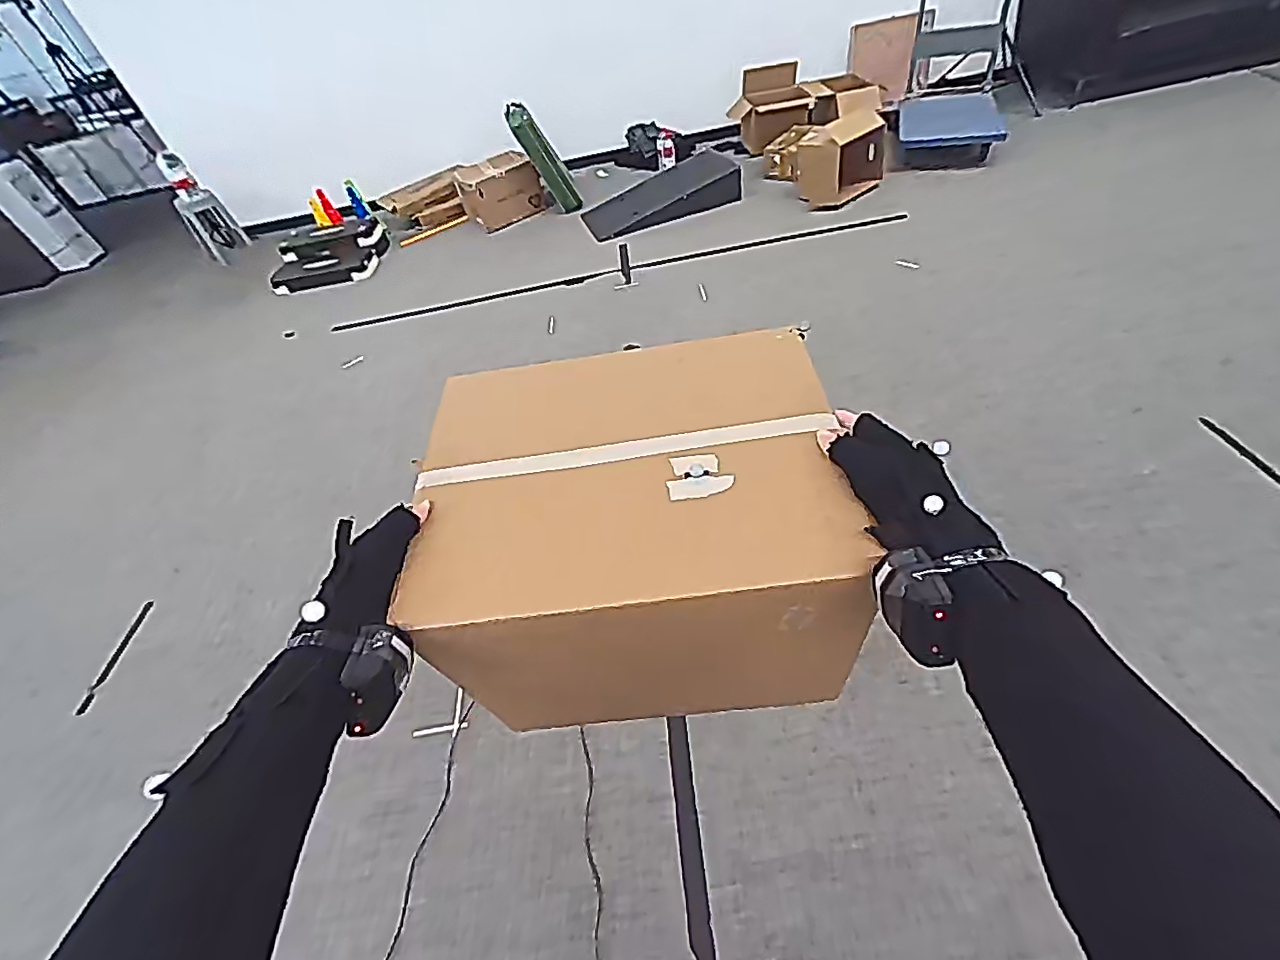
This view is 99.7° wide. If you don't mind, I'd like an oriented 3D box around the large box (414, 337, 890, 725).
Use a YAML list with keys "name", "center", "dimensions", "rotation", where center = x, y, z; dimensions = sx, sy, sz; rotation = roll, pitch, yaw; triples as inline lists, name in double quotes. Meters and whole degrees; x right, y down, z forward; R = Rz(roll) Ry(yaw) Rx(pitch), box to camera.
- name: "large box"
  center: [0.012, 0.072, 0.648]
  dimensions: [0.408, 0.320, 0.320]
  rotation: [-7, 51, 3]
